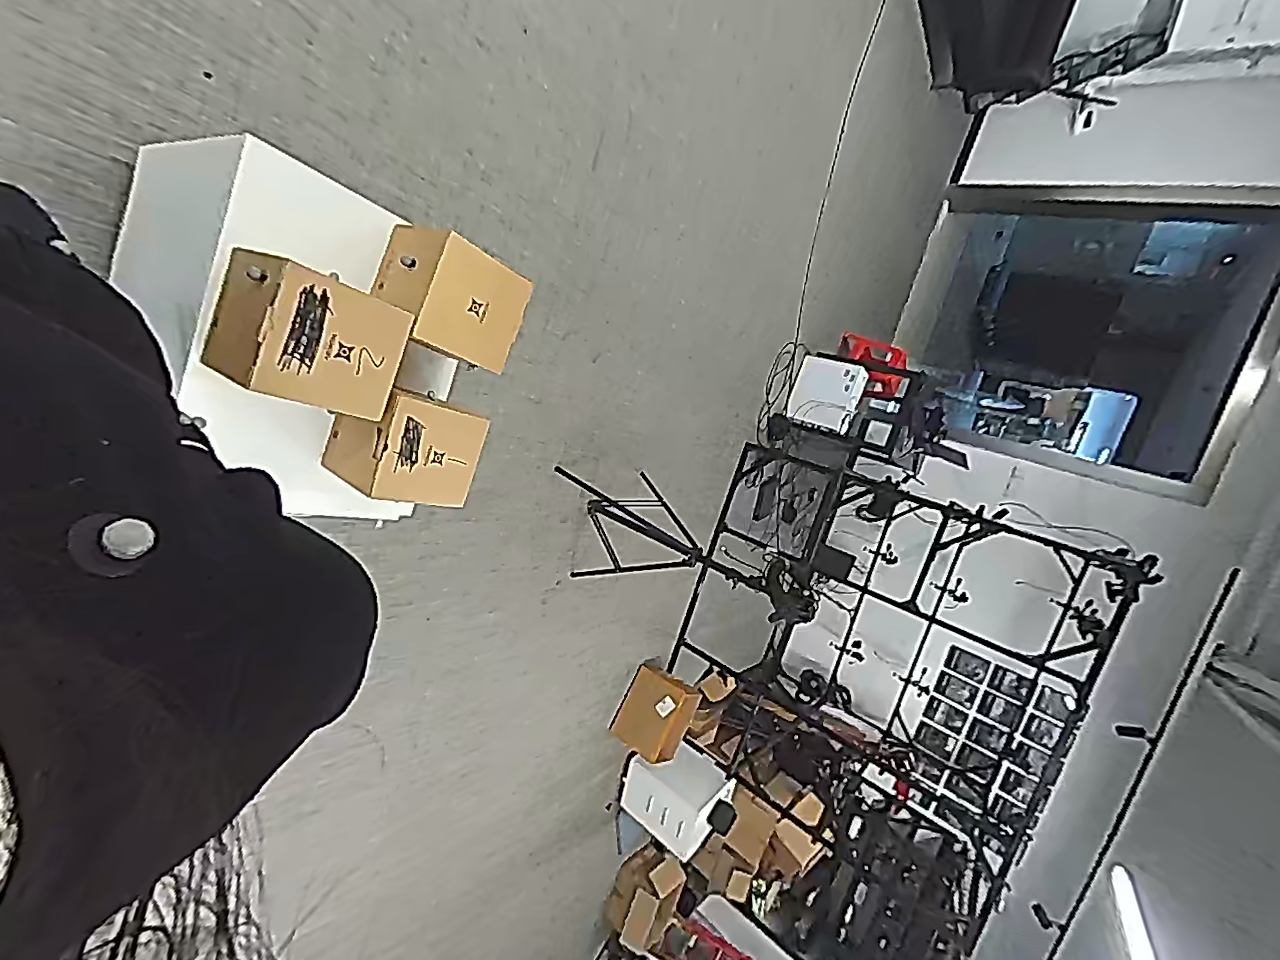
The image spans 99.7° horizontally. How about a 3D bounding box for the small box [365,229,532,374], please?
[{"bbox_3d":[-0.320,-0.295,0.898,0.179,0.176,0.168,18,95,-56],"label":"small box"}]
